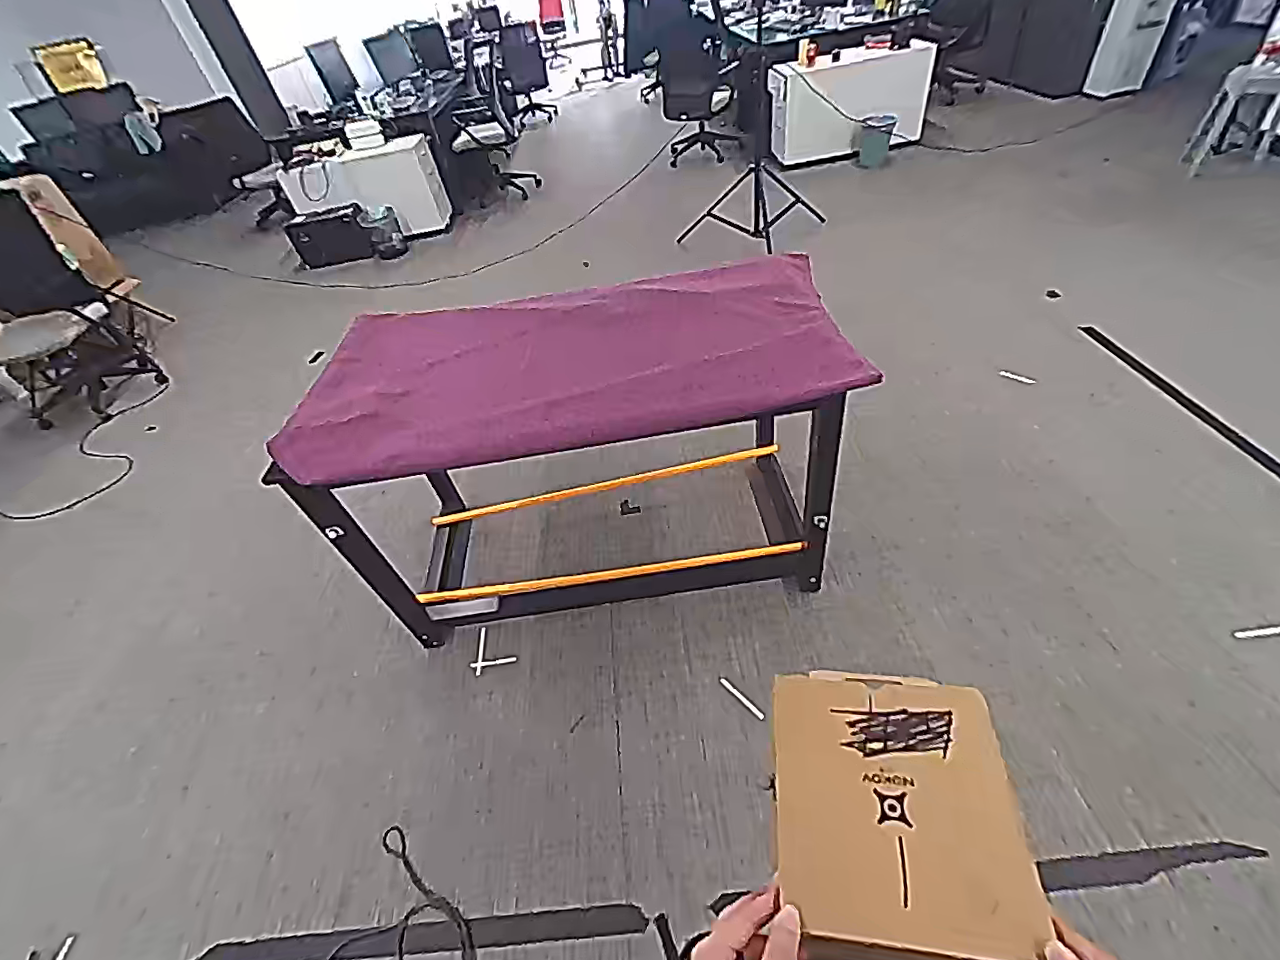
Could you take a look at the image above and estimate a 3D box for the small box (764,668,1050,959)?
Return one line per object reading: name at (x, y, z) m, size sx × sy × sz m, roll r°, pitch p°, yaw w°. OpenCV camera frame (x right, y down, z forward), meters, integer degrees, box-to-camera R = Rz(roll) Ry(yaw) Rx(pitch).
small box at (0.191, 0.285, 0.454) m, size 0.168 × 0.176 × 0.179 m, roll 0°, pitch 44°, yaw 12°
